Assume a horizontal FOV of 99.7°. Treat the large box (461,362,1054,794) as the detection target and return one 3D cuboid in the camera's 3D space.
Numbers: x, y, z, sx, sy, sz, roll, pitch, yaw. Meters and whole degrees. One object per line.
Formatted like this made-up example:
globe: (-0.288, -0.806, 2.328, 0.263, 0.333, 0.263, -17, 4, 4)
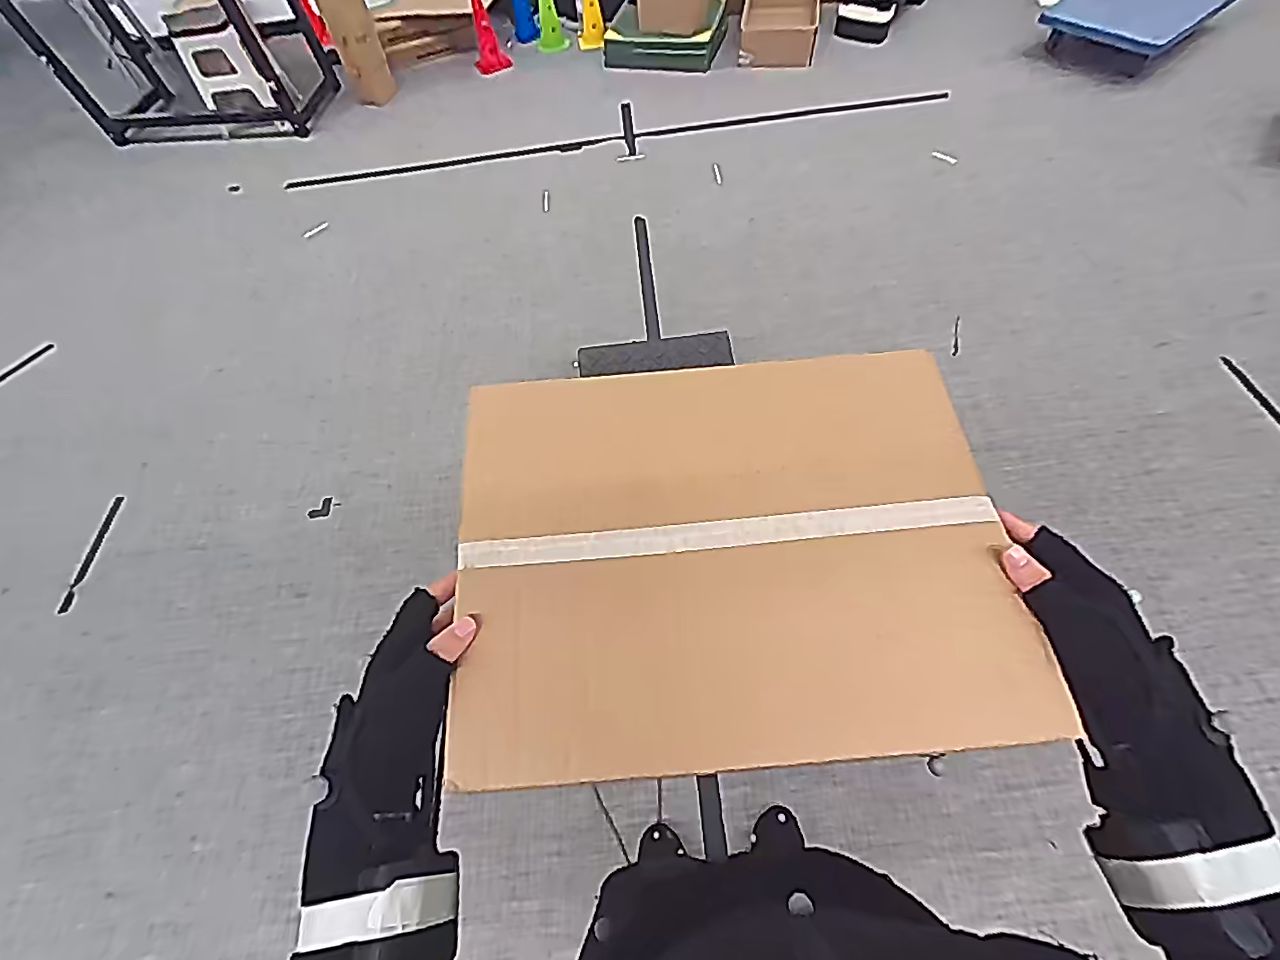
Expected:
large box: (0.073, 0.112, 0.552, 0.408, 0.320, 0.320, -5, 63, -1)
